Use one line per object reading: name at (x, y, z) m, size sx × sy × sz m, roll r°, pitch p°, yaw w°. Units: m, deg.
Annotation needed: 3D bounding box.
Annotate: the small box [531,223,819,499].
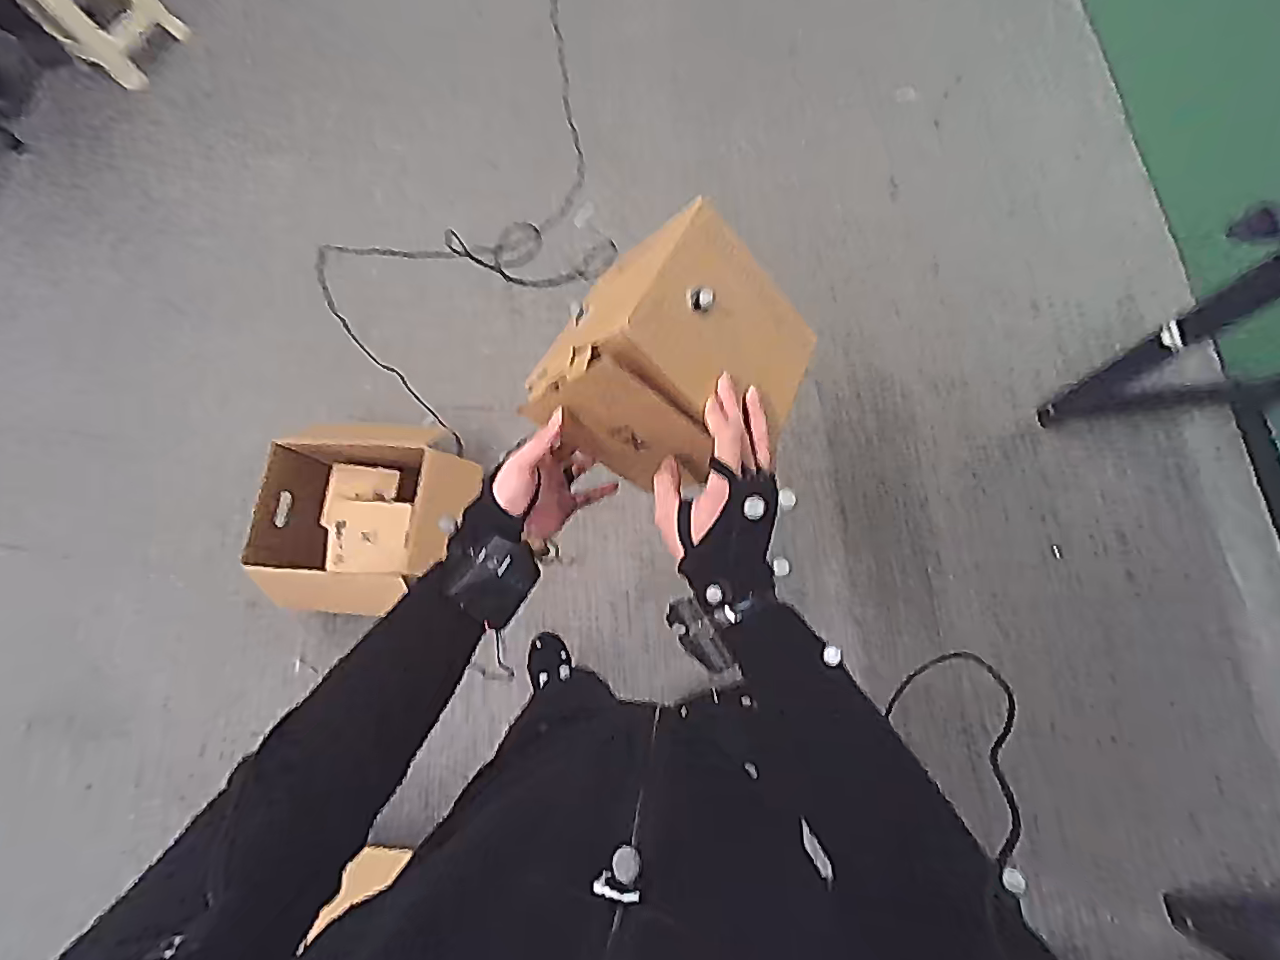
small box at (0.037, -0.106, 0.508) m, size 0.179 × 0.168 × 0.176 m, roll 40°, pitch 62°, yaw -24°
